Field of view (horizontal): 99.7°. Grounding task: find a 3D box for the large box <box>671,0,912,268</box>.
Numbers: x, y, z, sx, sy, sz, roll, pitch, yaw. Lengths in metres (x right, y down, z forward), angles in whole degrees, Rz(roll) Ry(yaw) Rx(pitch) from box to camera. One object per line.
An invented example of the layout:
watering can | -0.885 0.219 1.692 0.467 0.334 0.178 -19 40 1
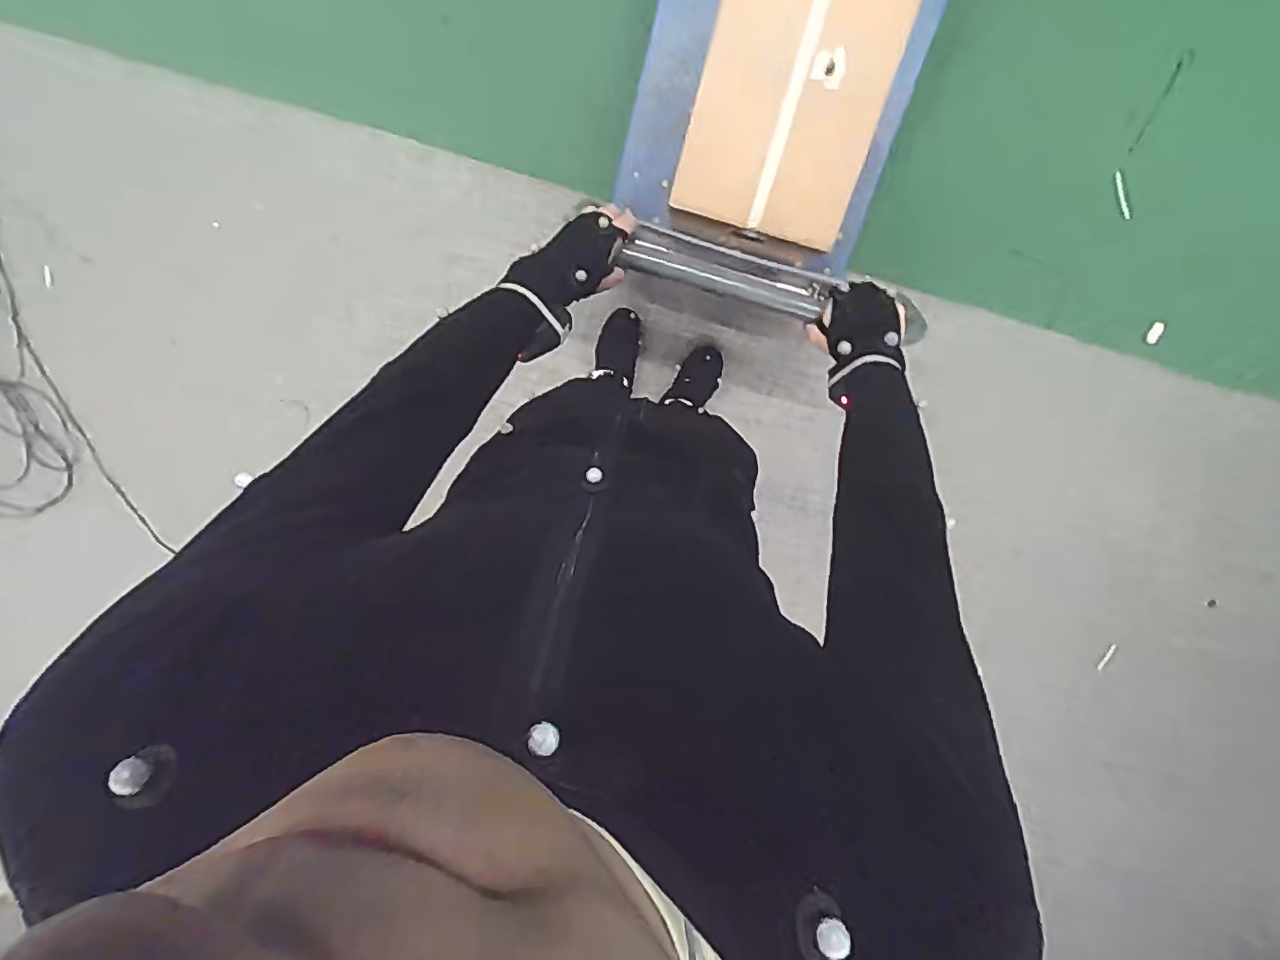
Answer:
large box | 0.264 -0.679 1.084 0.320 0.320 0.408 16 108 -1
